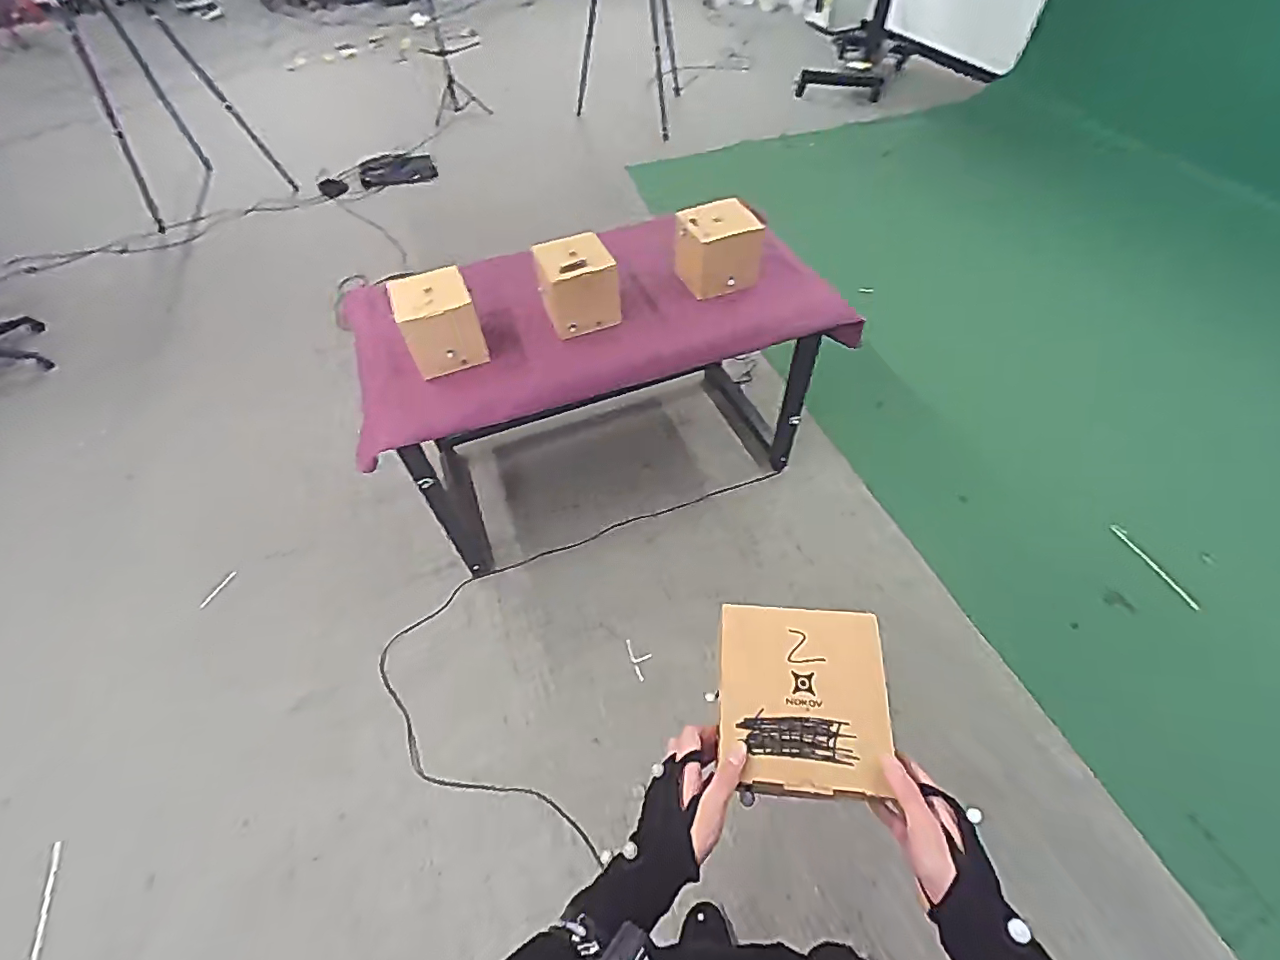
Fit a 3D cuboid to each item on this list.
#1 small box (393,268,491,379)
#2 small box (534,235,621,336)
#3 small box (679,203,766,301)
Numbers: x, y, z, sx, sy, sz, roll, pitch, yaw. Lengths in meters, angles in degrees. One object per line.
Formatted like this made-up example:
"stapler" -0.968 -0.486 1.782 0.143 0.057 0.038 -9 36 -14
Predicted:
"small box" -0.473 -0.375 1.301 0.168 0.176 0.179 -20 55 -12
"small box" -0.153 -0.487 1.373 0.168 0.176 0.179 -19 53 -12
"small box" 0.212 -0.607 1.446 0.179 0.176 0.168 -18 54 -10
